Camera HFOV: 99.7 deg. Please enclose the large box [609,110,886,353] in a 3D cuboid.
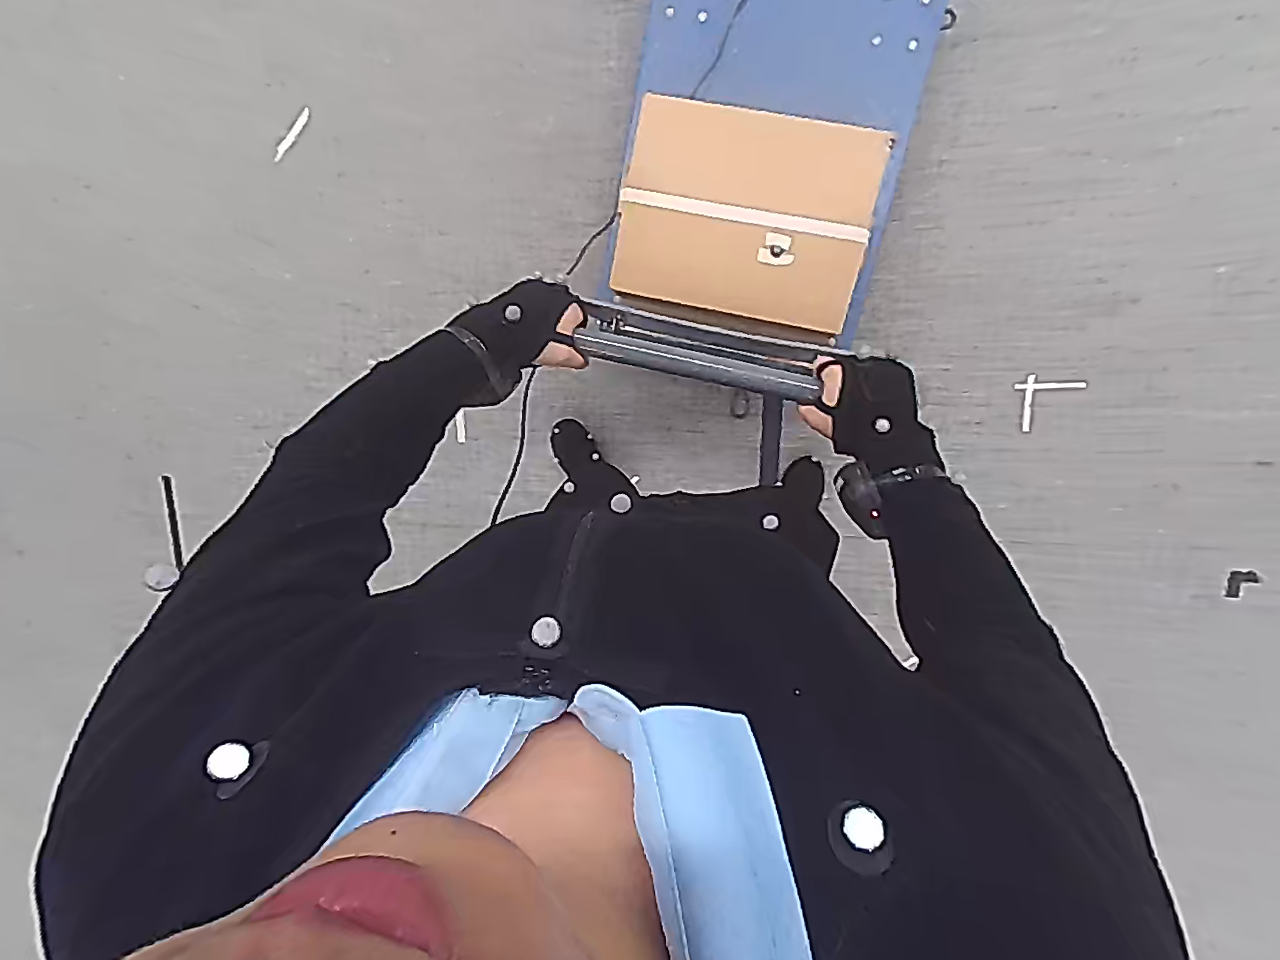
[{"bbox_3d":[0.182,-0.440,1.035,0.408,0.320,0.320,13,102,5],"label":"large box"}]
